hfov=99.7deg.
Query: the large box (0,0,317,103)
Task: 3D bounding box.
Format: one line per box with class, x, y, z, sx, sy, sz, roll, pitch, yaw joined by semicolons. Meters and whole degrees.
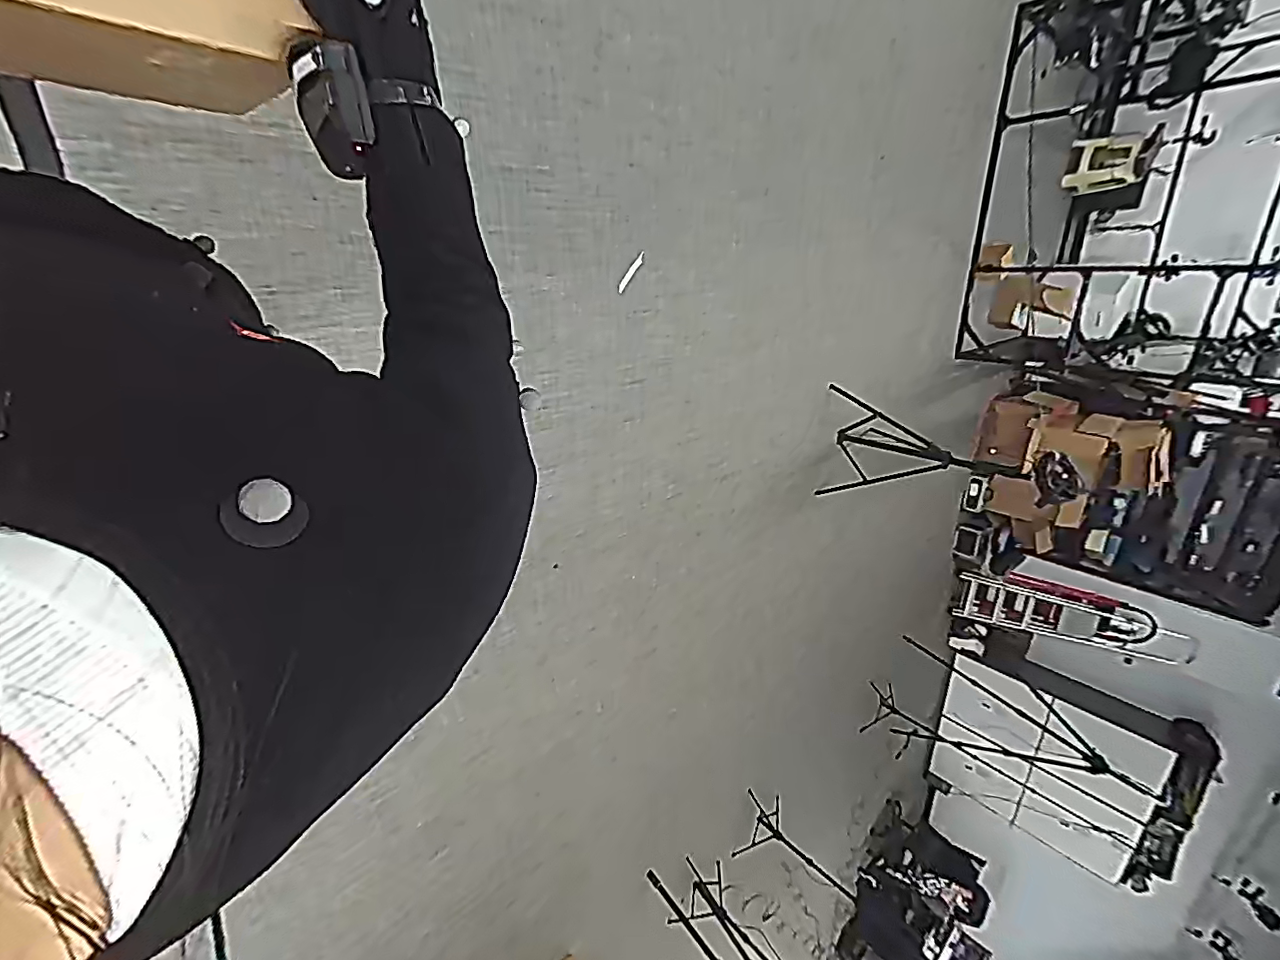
large box;-0.452;-0.429;0.275;0.408;0.320;0.320;-16;123;-40
